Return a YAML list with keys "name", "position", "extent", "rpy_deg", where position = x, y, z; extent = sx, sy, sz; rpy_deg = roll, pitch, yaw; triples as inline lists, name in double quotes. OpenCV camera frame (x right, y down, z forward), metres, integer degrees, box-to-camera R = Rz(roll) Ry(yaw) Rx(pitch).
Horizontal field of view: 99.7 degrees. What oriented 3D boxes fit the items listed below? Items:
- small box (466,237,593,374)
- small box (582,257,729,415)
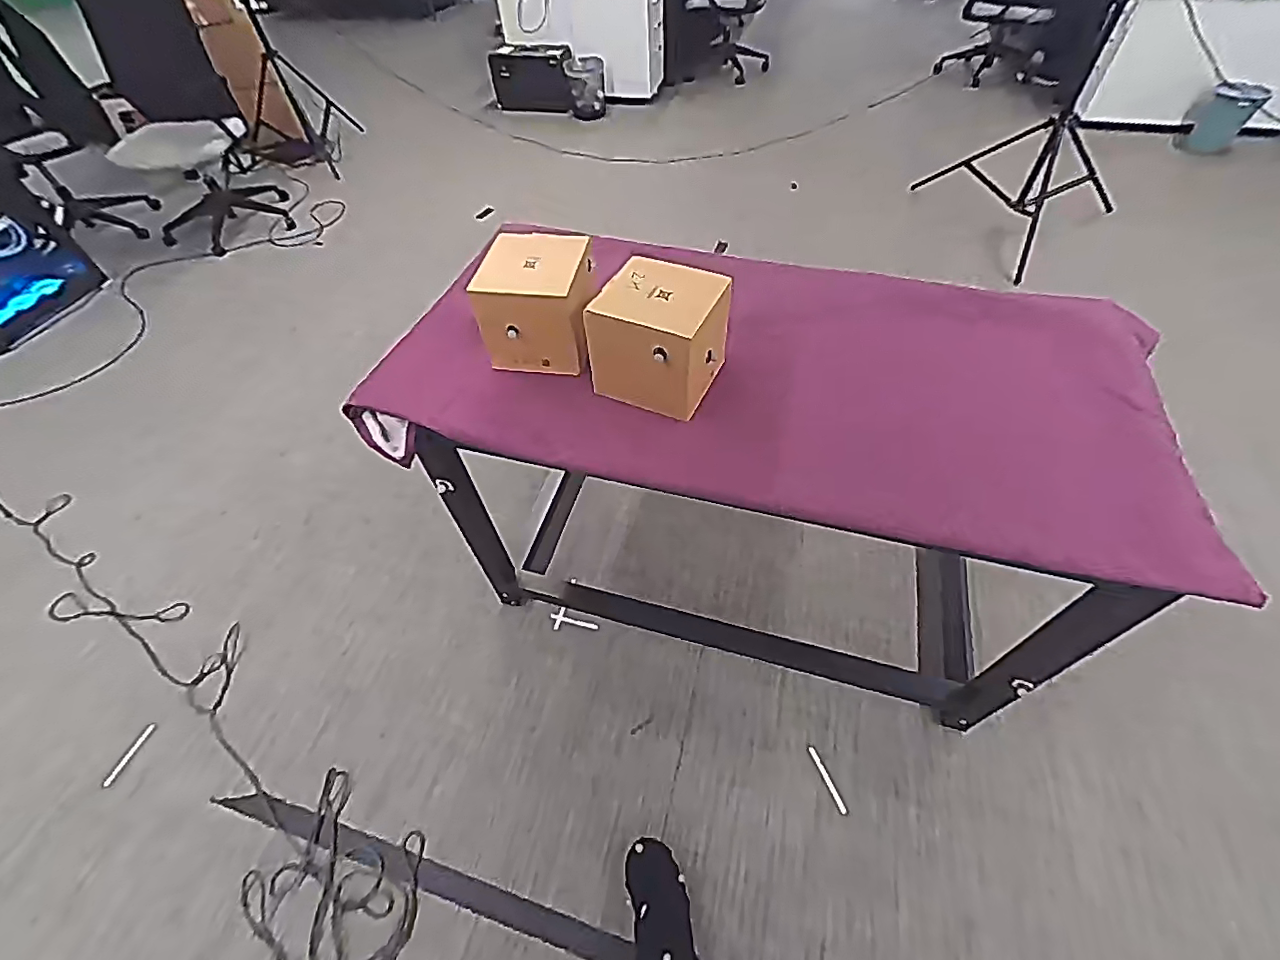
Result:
- name: "small box"
  position: [-0.178, -0.304, 0.953]
  extent: [0.168, 0.176, 0.179]
  rpy_deg: [5, 53, 7]
- name: "small box"
  position: [0.030, -0.230, 0.881]
  extent: [0.179, 0.176, 0.168]
  rpy_deg: [19, 55, 18]
